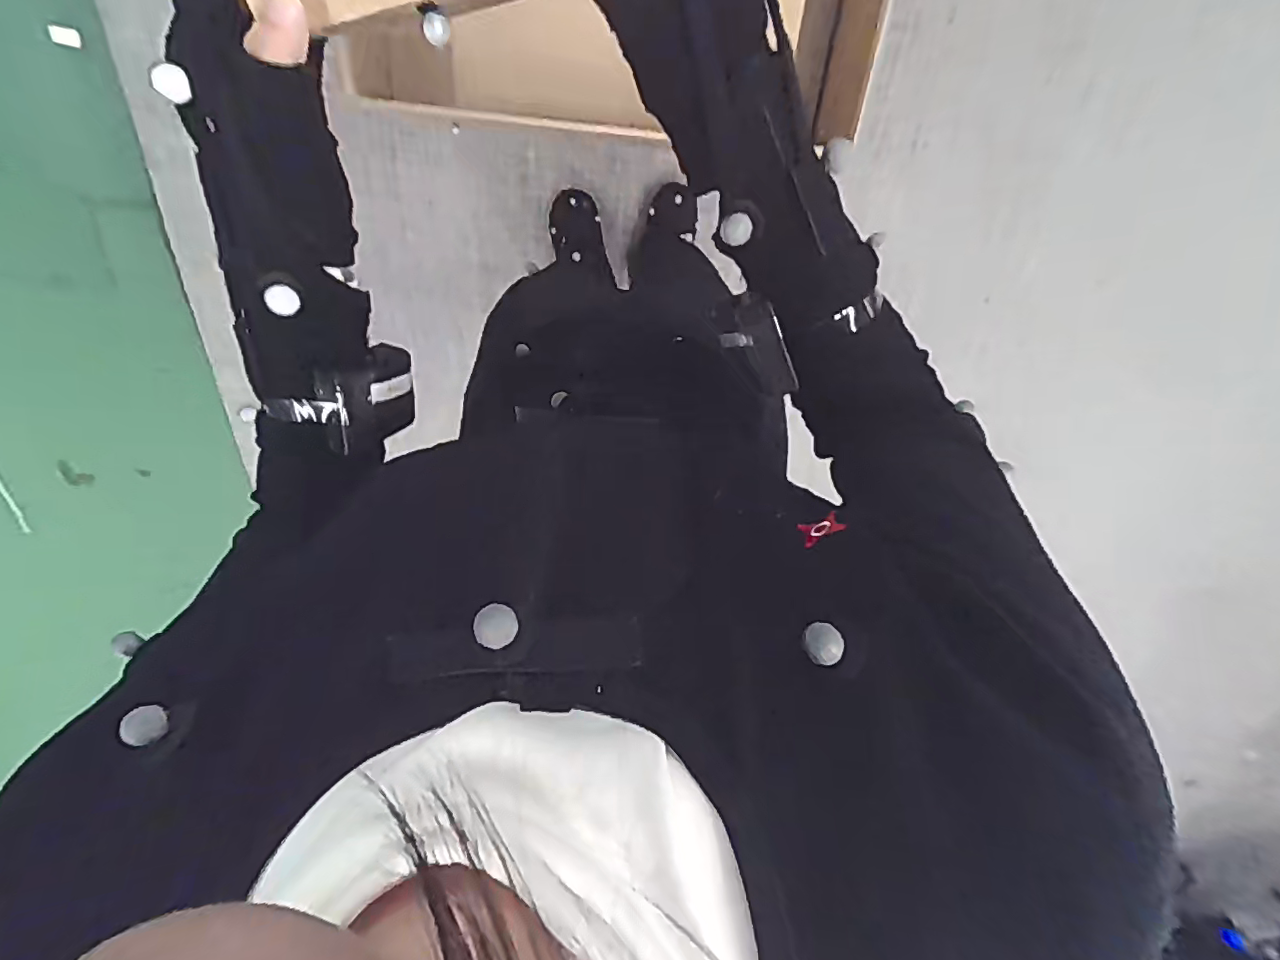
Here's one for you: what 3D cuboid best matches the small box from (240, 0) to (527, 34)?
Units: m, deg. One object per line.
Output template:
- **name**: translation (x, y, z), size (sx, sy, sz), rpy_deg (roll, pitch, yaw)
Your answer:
- **small box**: translation (-0.097, -0.313, 0.222), size (0.168, 0.176, 0.179), rpy_deg (-10, 129, 7)
